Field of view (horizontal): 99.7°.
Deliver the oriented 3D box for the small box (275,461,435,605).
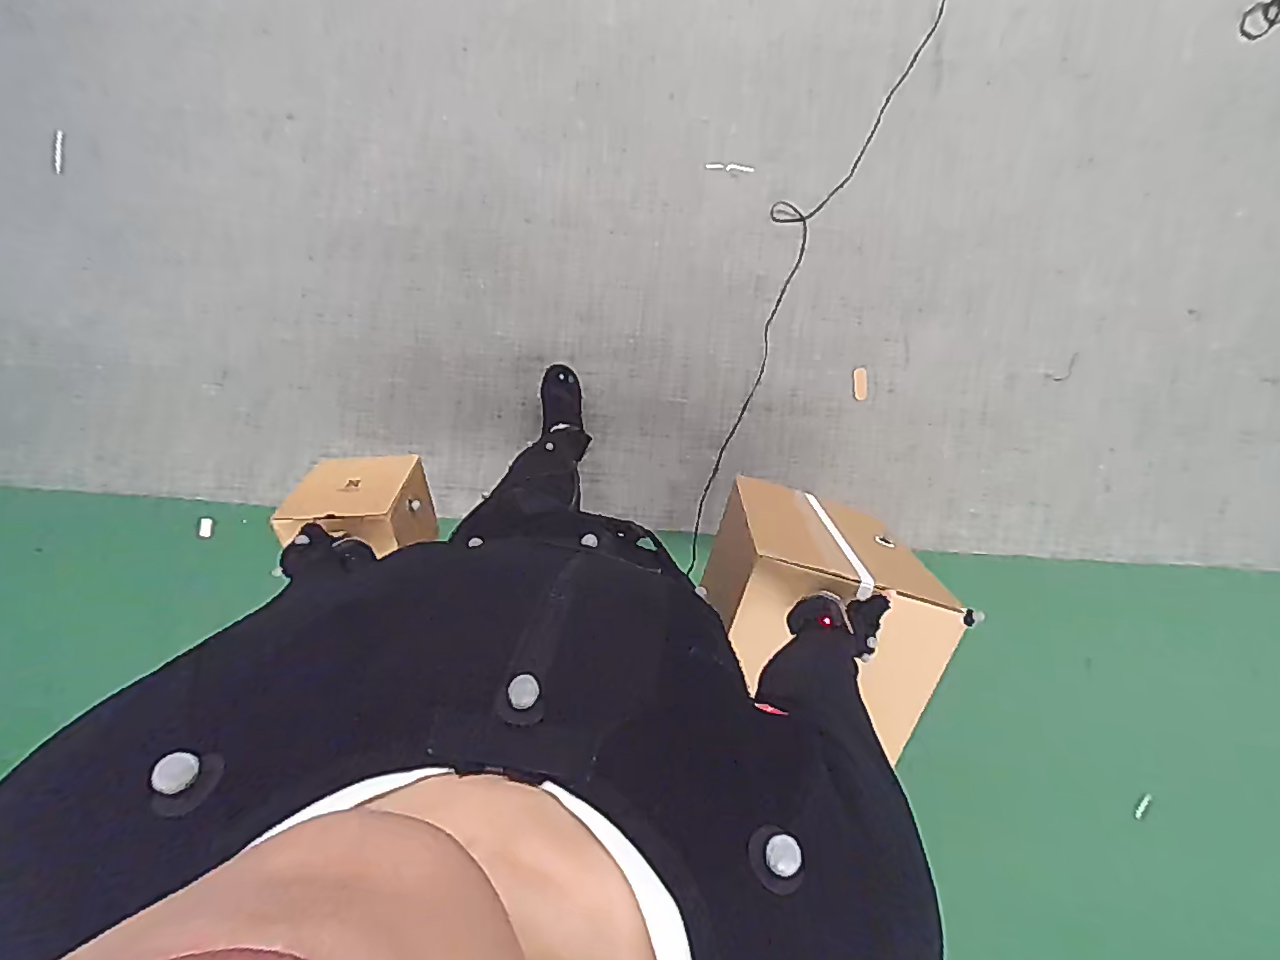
[{"bbox_3d":[-0.453,0.083,0.895,0.168,0.179,0.176,-3,122,-3],"label":"small box"}]
